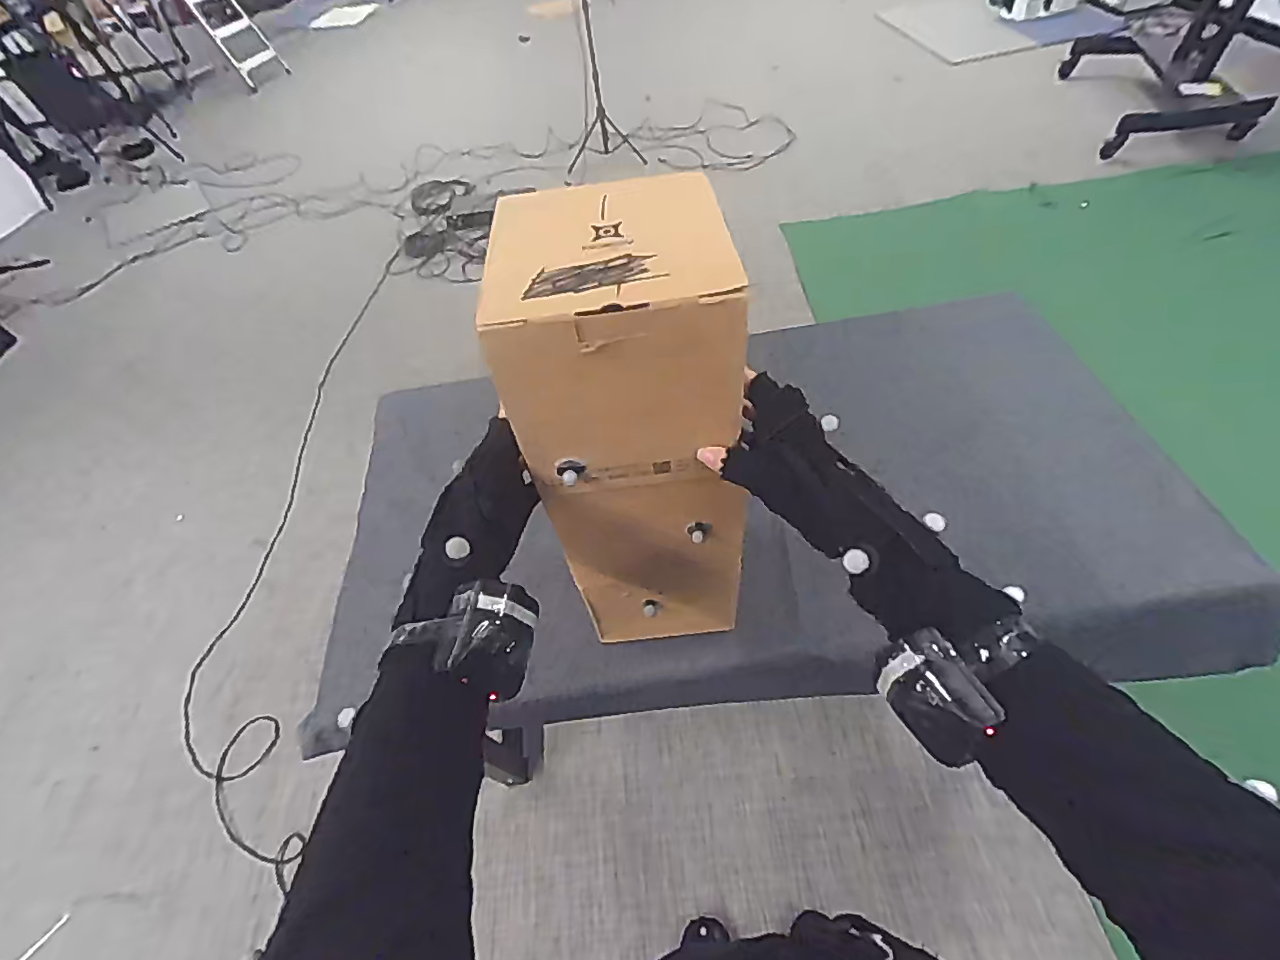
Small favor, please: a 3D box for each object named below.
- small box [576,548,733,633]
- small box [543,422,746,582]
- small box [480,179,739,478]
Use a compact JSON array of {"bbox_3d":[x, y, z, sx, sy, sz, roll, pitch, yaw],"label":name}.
[{"bbox_3d":[0.021,0.086,0.698,0.179,0.176,0.168,-7,52,2],"label":"small box"},{"bbox_3d":[0.006,-0.010,0.568,0.179,0.176,0.168,-8,50,2],"label":"small box"},{"bbox_3d":[-0.016,-0.115,0.443,0.168,0.176,0.179,-6,50,1],"label":"small box"}]
